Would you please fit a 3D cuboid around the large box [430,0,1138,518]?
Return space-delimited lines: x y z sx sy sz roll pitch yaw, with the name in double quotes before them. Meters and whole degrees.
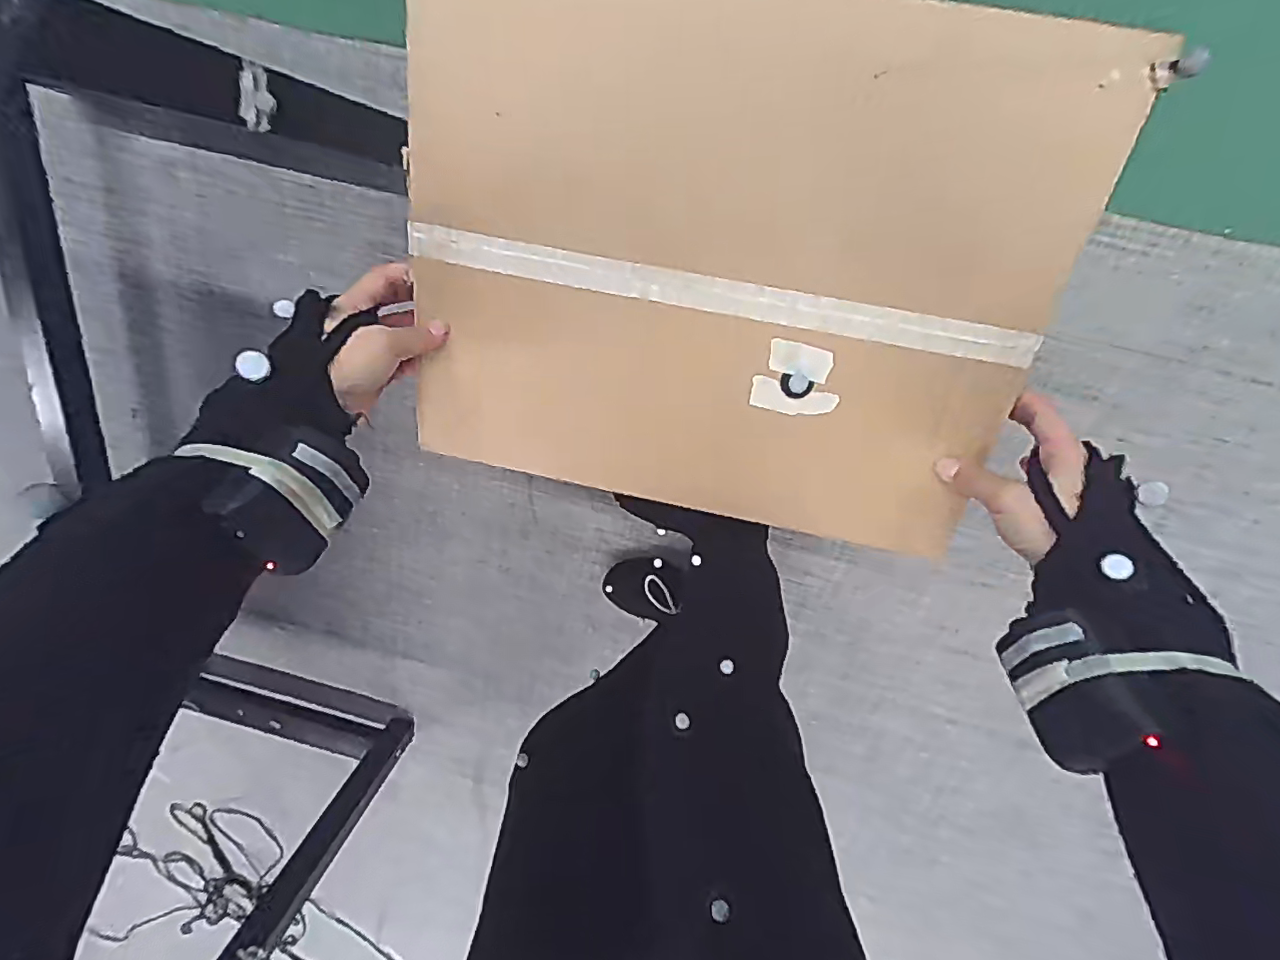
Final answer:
"large box" 0.071 -0.199 0.497 0.408 0.320 0.320 11 116 3
